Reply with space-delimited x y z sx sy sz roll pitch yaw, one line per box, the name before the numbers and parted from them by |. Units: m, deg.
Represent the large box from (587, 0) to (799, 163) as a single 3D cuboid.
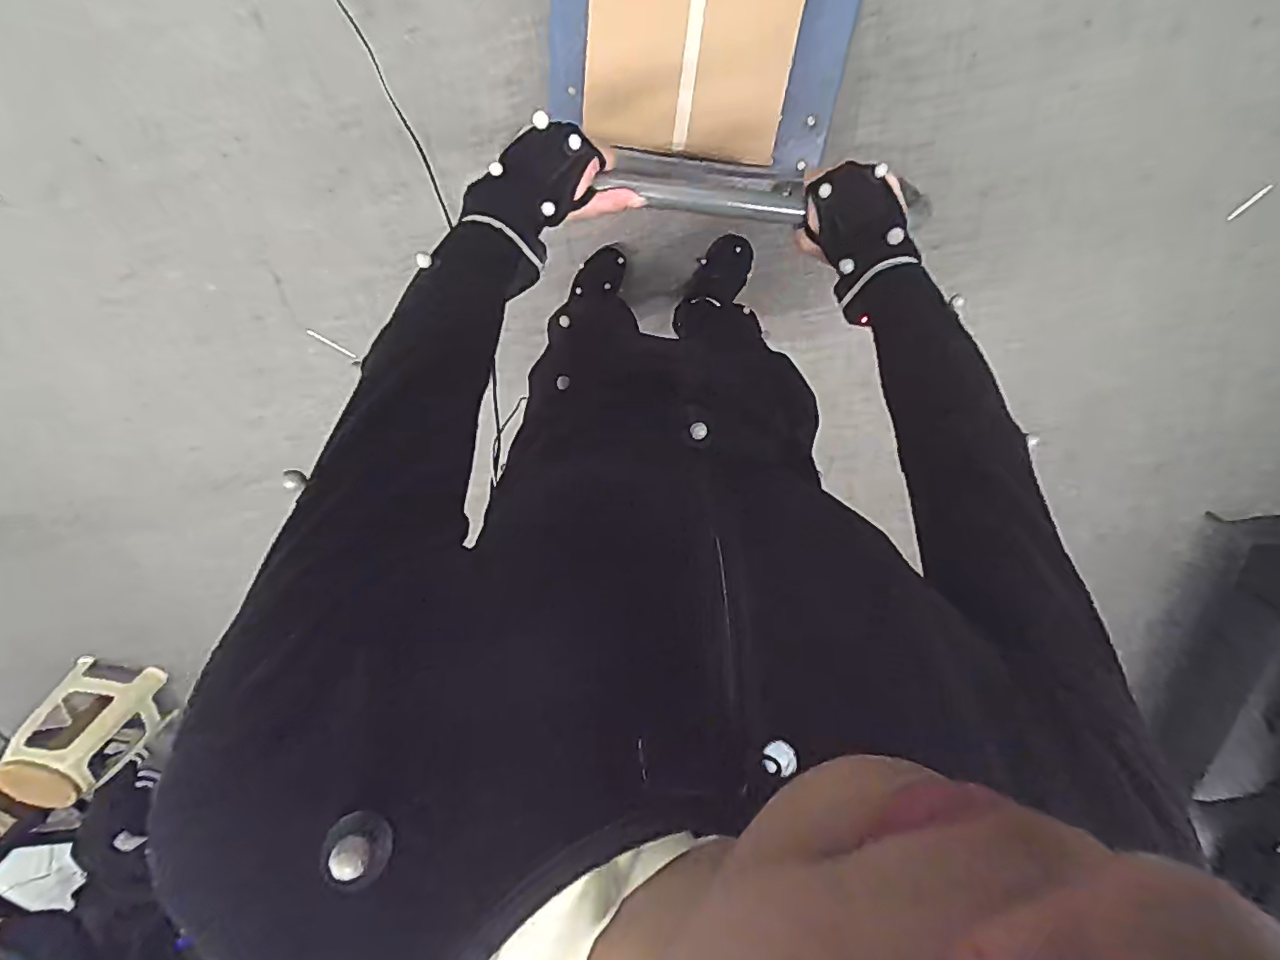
large box | 0.088 -0.788 0.927 0.320 0.320 0.408 6 120 -2
